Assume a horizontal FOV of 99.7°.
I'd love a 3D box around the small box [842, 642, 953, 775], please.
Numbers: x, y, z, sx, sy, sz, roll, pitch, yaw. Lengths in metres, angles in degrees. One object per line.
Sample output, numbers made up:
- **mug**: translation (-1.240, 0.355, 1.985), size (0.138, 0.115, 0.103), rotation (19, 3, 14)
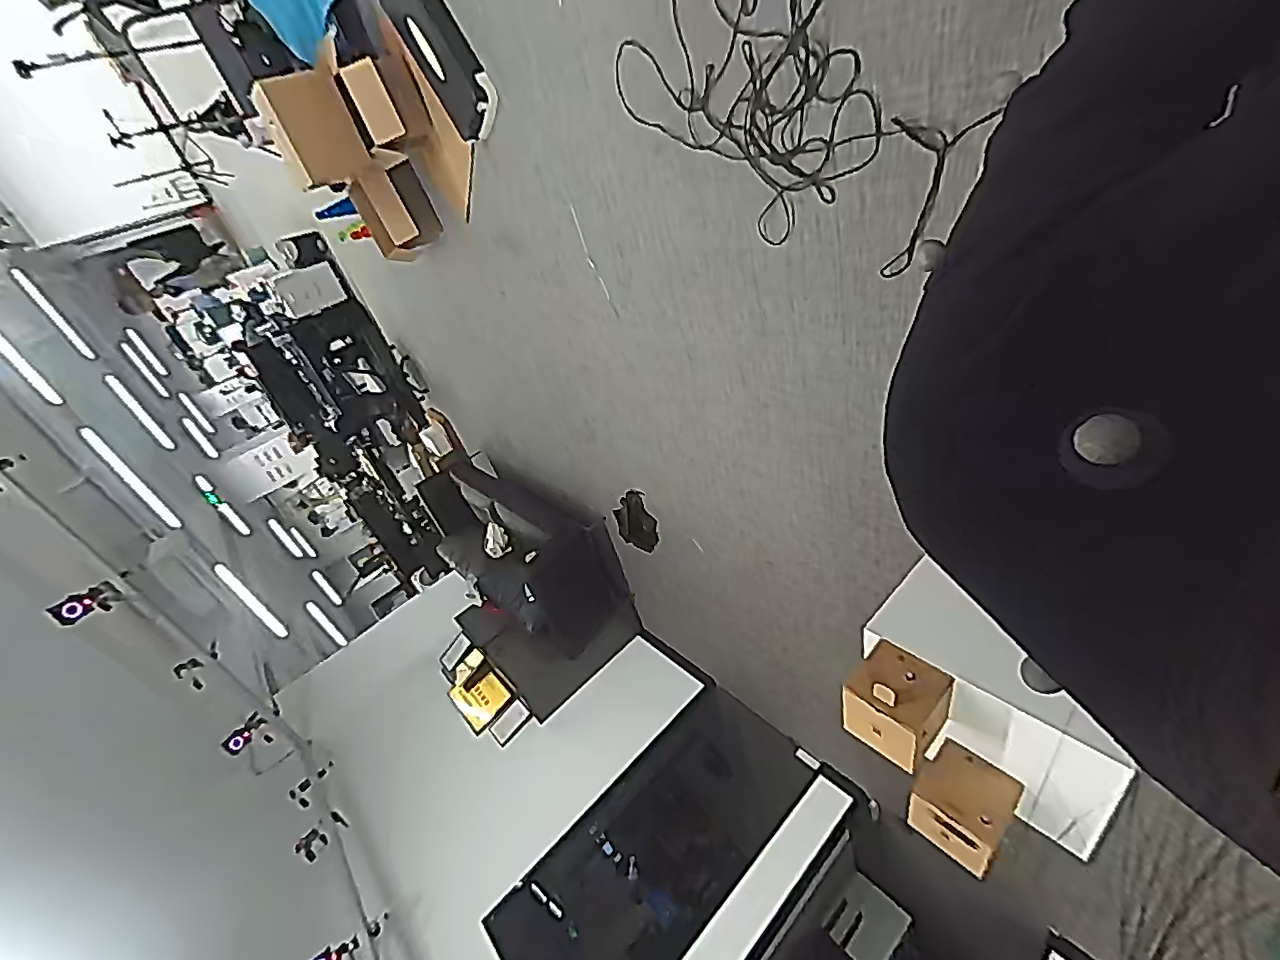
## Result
- **small box**: translation (0.574, 0.506, 1.210), size (0.168, 0.176, 0.179), rotation (26, 143, 44)
